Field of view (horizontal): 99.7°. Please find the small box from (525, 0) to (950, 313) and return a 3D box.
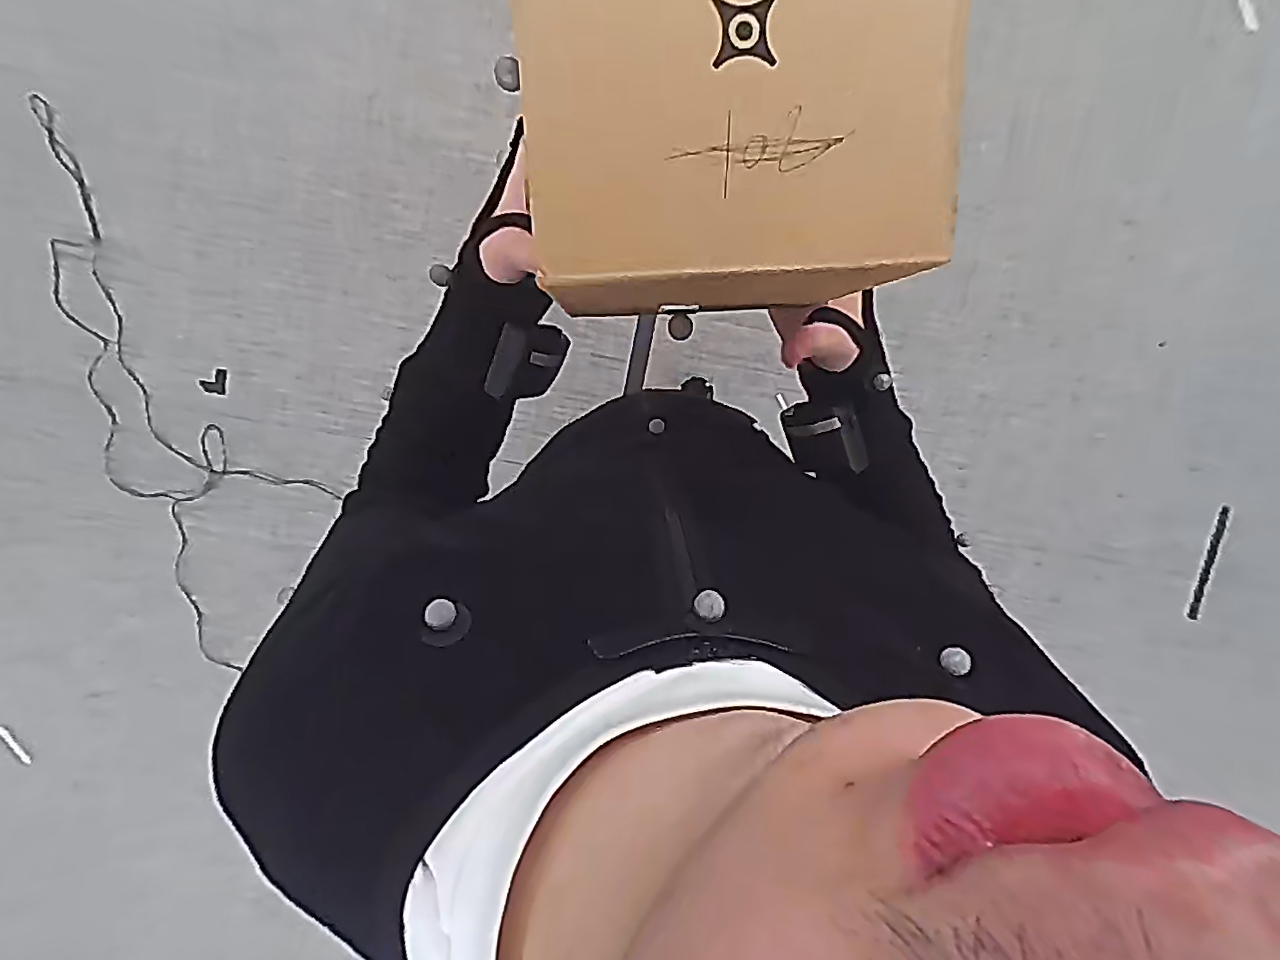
[{"bbox_3d":[0.034,-0.189,0.285,0.168,0.176,0.179,-3,103,-1],"label":"small box"}]
